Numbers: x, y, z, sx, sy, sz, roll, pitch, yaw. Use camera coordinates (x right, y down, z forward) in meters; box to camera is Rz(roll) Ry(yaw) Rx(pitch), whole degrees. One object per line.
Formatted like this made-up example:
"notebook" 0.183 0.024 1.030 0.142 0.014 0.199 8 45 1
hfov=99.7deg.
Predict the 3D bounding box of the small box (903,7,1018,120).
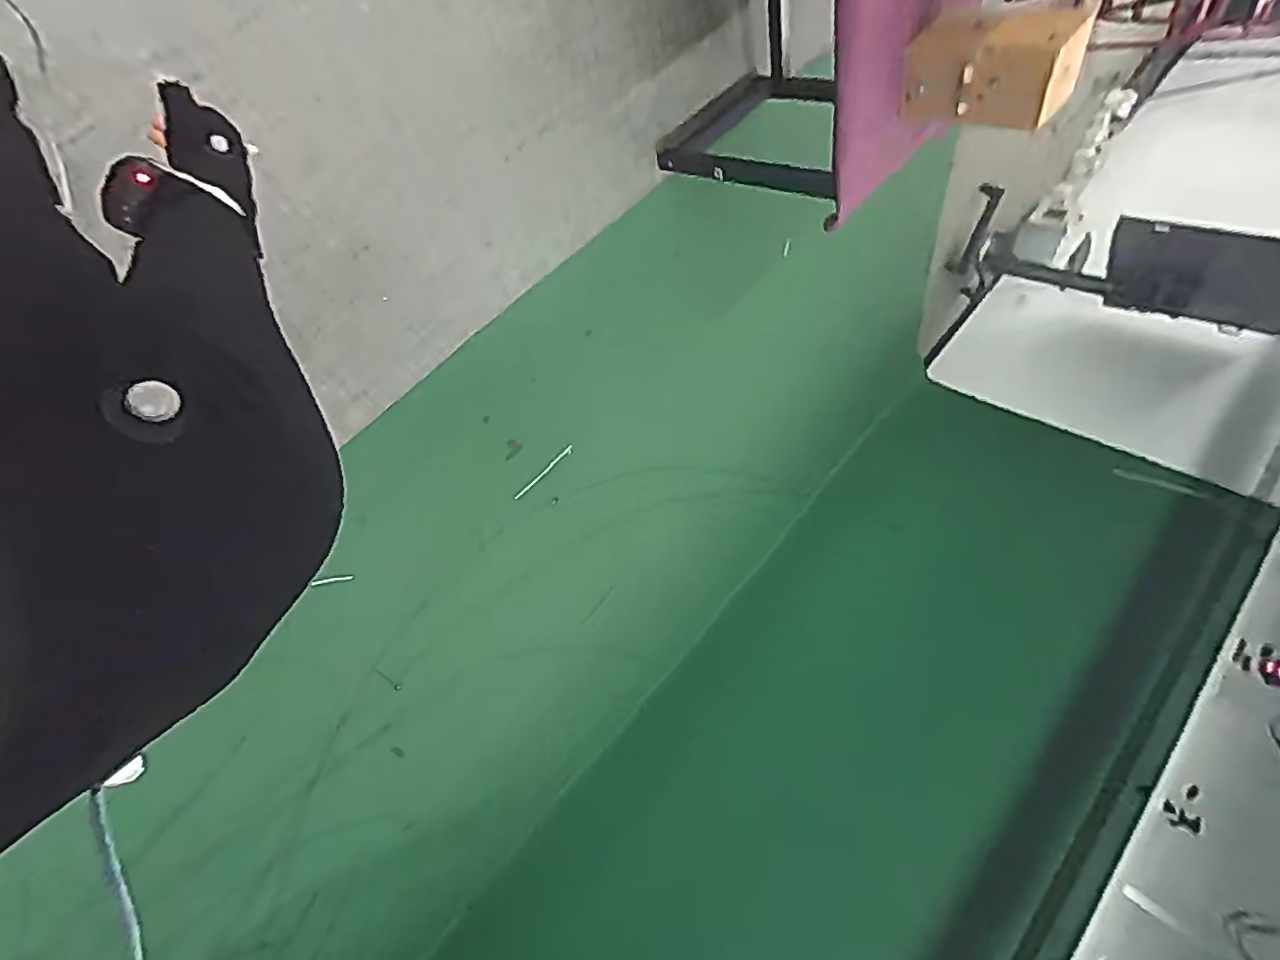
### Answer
"small box" 0.778 -1.023 1.328 0.179 0.176 0.168 -47 144 -14

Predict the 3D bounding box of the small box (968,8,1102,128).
"small box" 0.895 -0.949 1.241 0.179 0.176 0.168 -46 145 -14
